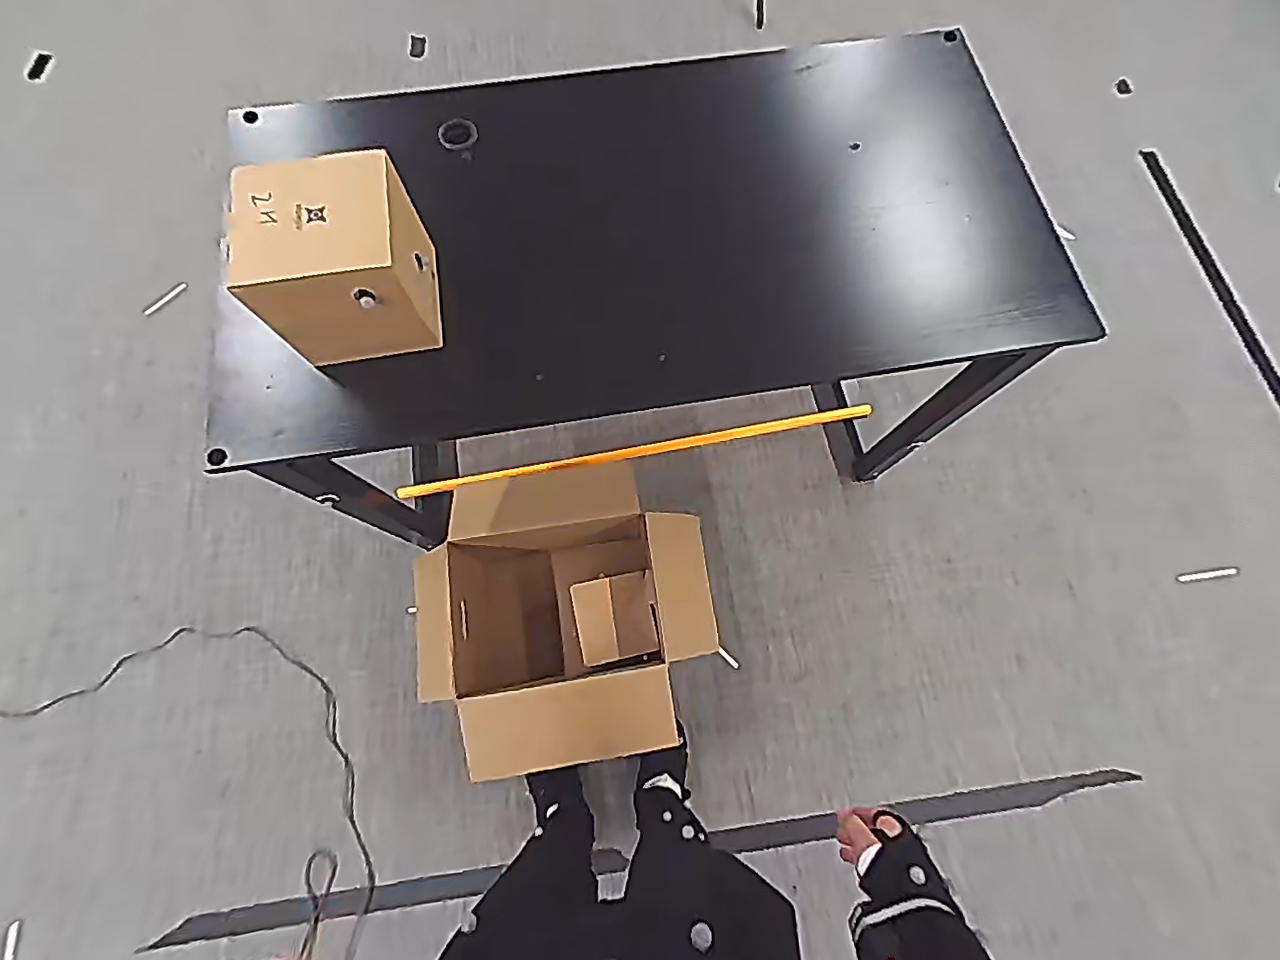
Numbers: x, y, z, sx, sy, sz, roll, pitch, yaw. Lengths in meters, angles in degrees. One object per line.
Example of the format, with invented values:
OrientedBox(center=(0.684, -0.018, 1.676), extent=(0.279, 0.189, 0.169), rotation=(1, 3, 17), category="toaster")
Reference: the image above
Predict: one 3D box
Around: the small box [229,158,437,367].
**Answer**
OrientedBox(center=(-0.366, -0.261, 0.677), extent=(0.179, 0.176, 0.168), rotation=(-10, 73, -4), category="small box")
